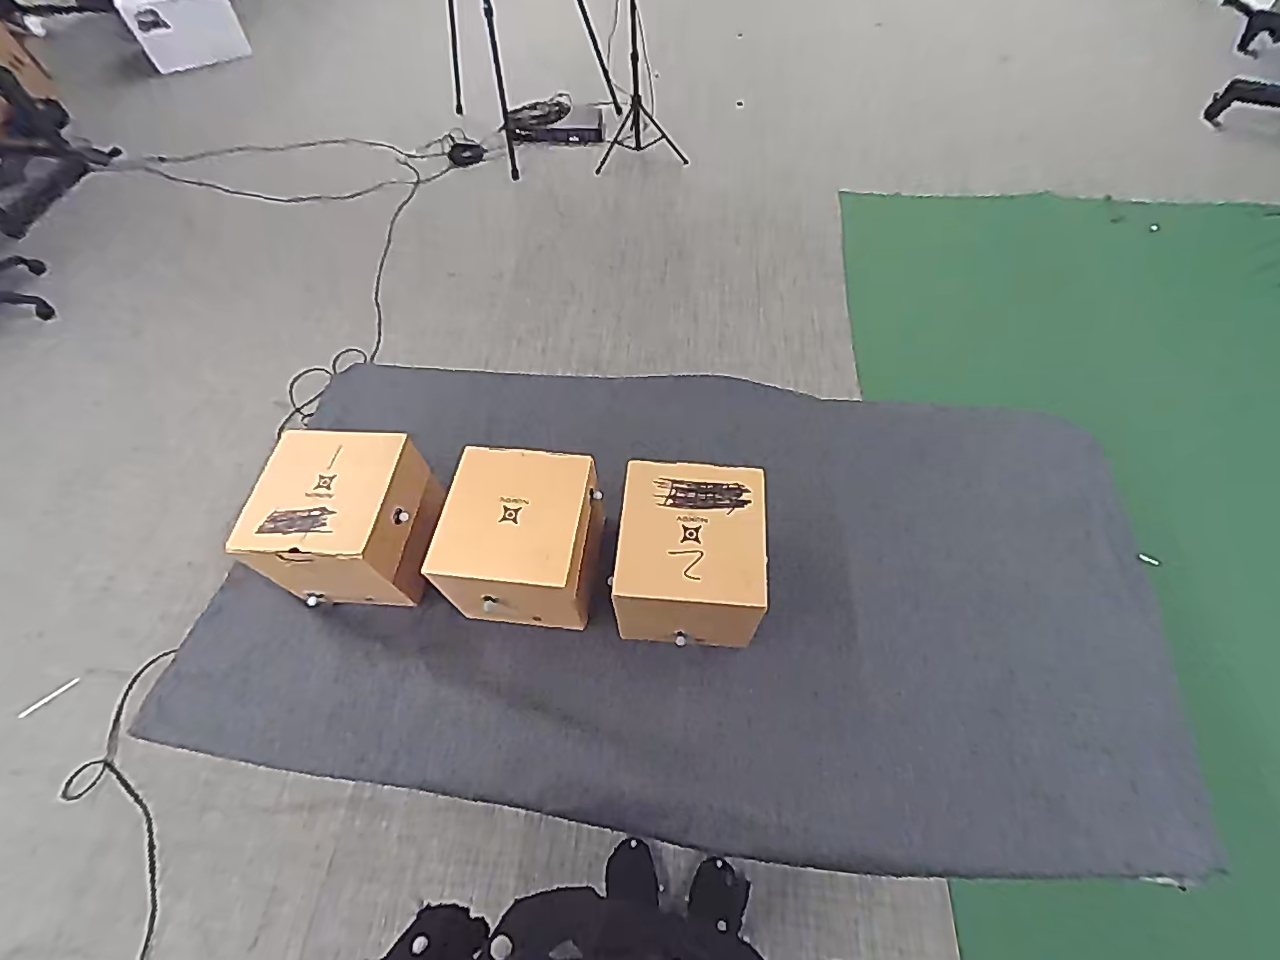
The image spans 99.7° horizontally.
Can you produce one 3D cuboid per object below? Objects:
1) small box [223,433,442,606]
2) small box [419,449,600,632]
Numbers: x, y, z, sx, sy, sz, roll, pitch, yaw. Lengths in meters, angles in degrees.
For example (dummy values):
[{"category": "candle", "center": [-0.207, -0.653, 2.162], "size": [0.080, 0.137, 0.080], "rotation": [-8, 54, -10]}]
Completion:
[{"category": "small box", "center": [-0.383, 0.057, 0.716], "size": [0.168, 0.176, 0.179], "rotation": [2, 57, 3]}, {"category": "small box", "center": [-0.149, 0.083, 0.694], "size": [0.168, 0.176, 0.179], "rotation": [5, 57, 5]}]
